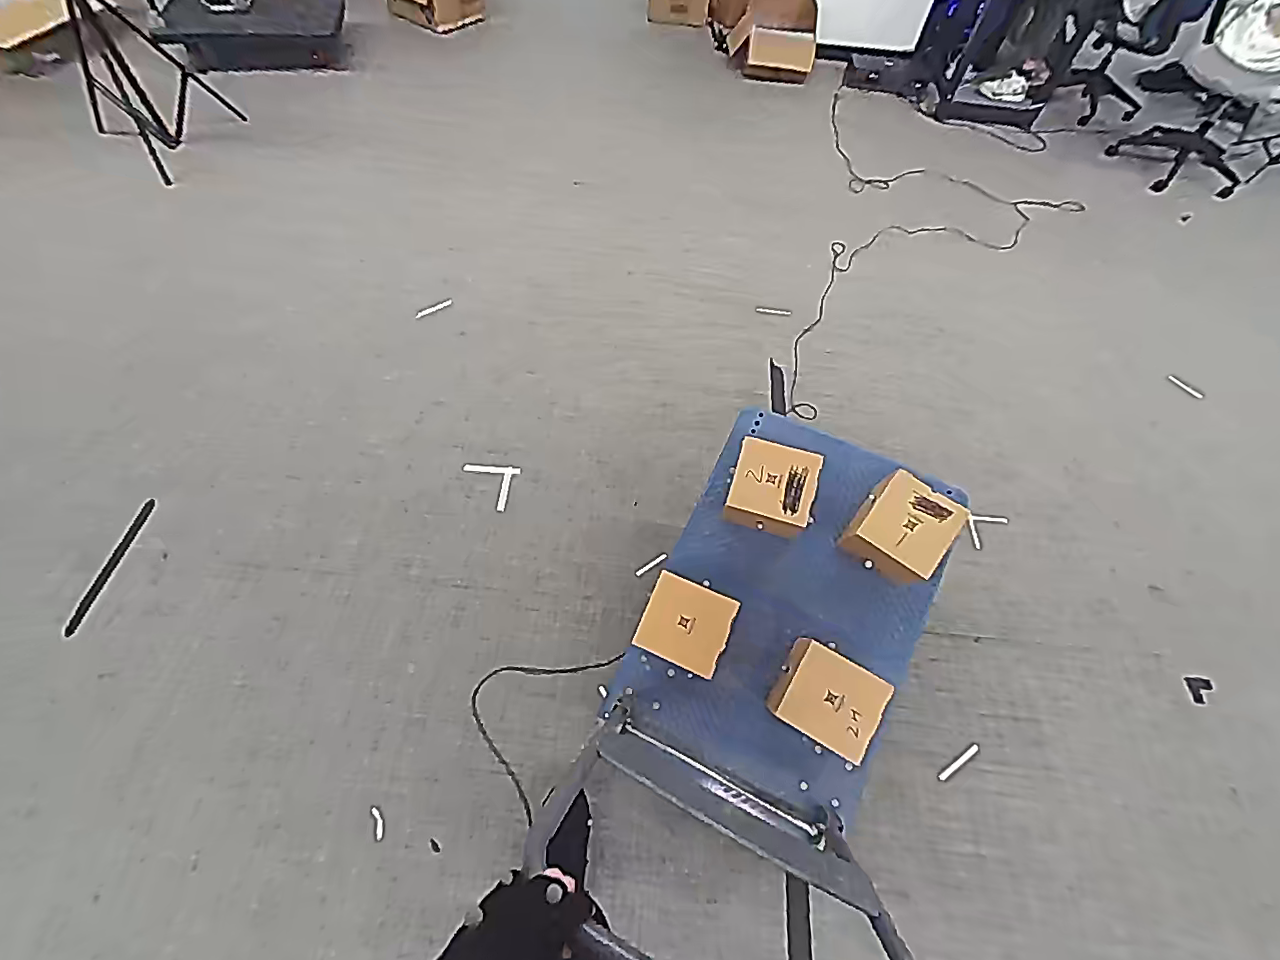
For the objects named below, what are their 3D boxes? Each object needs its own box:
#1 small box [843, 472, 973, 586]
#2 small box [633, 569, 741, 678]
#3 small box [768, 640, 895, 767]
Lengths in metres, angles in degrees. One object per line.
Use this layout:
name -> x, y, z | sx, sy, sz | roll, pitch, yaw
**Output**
small box -> 0.573, 0.113, 1.183 | 0.168, 0.176, 0.179 | 36, 82, 14
small box -> 0.102, 0.312, 1.177 | 0.179, 0.176, 0.168 | 23, 78, 10
small box -> 0.381, 0.448, 1.112 | 0.179, 0.176, 0.168 | 30, 80, 13
